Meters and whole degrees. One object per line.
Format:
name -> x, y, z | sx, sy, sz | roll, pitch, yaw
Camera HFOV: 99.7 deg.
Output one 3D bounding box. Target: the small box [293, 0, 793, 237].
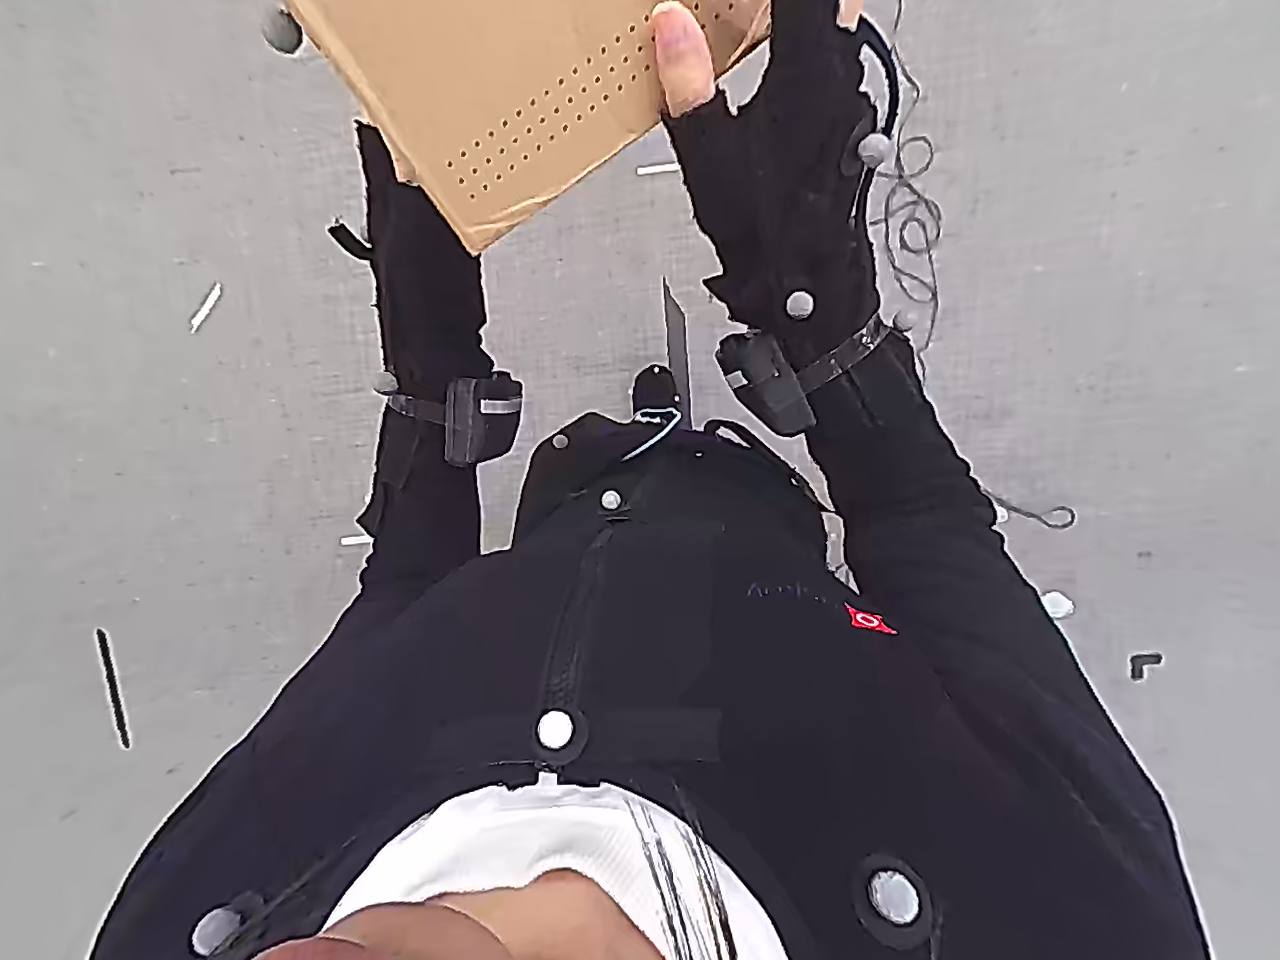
small box -> -0.062, -0.242, 0.239 | 0.179, 0.168, 0.176 | -33, 133, 5
